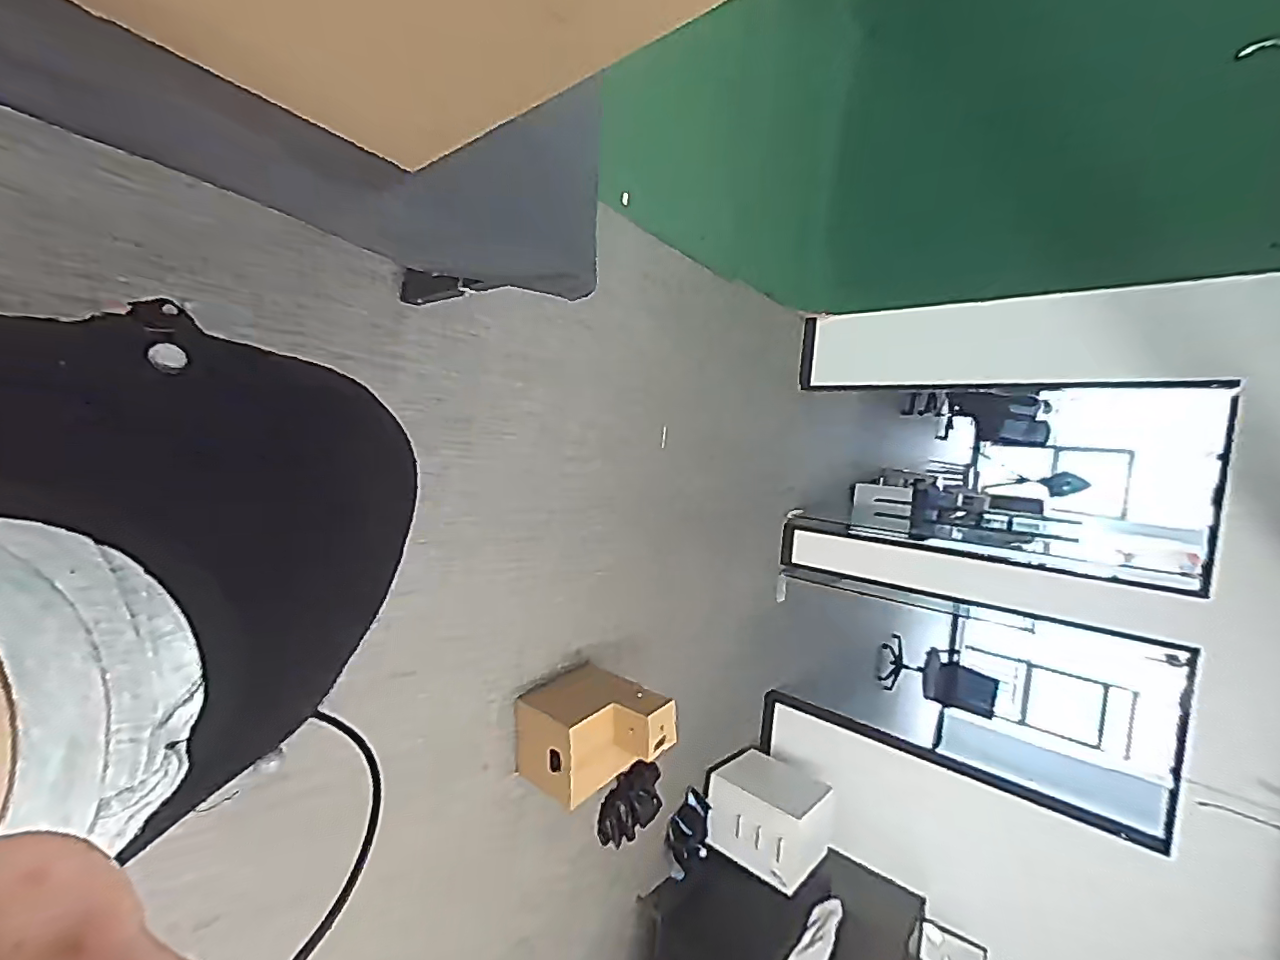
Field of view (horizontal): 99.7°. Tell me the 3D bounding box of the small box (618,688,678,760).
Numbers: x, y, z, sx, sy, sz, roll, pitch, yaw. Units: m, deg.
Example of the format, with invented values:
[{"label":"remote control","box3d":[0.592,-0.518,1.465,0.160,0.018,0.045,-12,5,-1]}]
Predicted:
[{"label":"small box","box3d":[0.028,0.919,2.053,0.168,0.176,0.179,-7,96,-49]}]
